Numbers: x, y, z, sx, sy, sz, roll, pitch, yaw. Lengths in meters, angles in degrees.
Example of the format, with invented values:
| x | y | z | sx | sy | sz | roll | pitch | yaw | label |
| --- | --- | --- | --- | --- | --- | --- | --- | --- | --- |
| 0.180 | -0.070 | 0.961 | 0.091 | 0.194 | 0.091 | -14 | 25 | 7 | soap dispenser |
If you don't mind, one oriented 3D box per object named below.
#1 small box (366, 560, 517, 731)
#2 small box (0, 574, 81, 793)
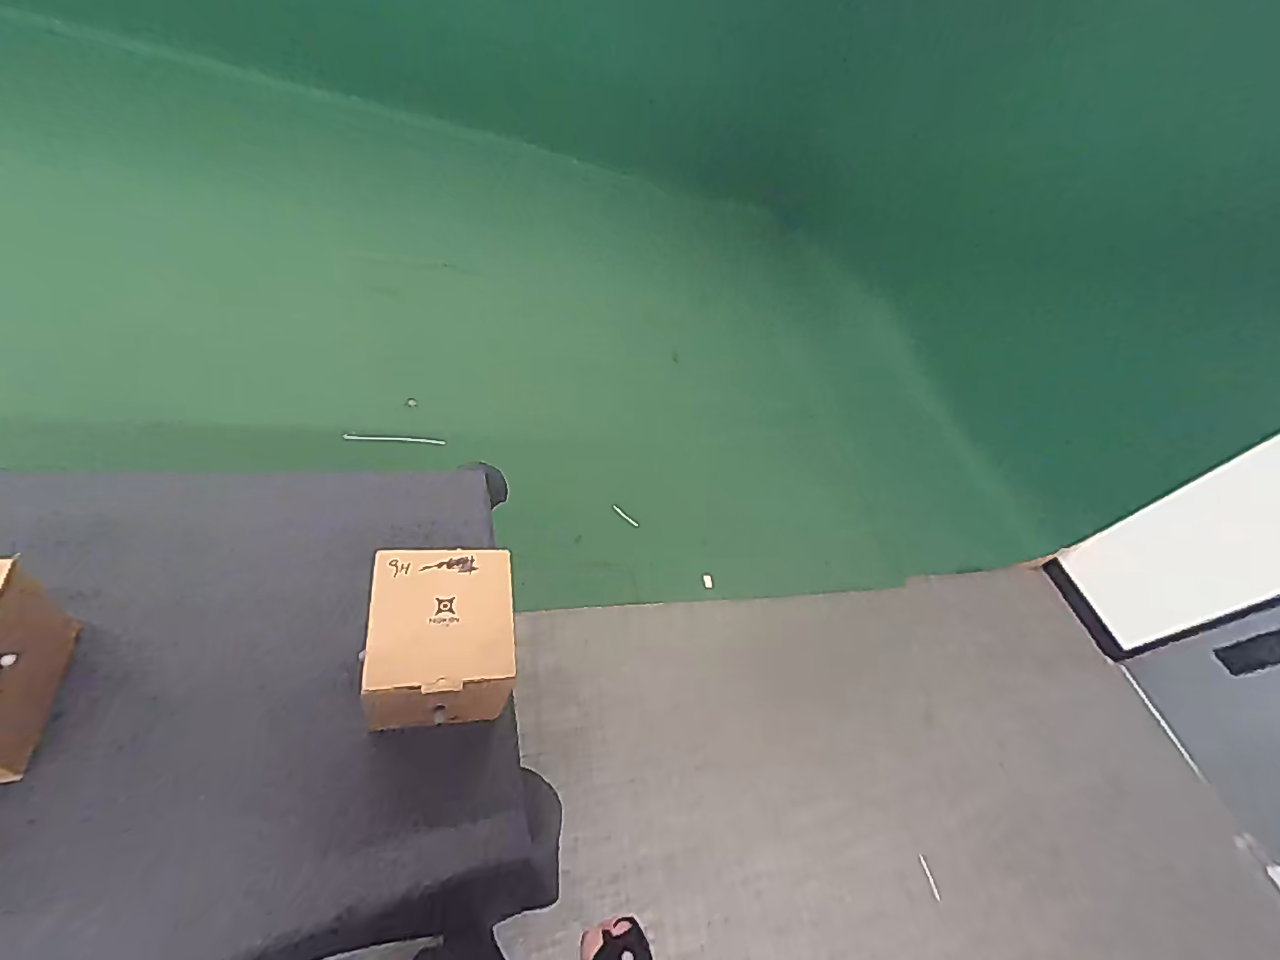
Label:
| x | y | z | sx | sy | sz | roll | pitch | yaw | label |
| --- | --- | --- | --- | --- | --- | --- | --- | --- | --- |
| -0.259 | 0.222 | 0.718 | 0.168 | 0.176 | 0.179 | 3 | 53 | -21 | small box |
| -0.711 | 0.212 | 0.532 | 0.168 | 0.176 | 0.179 | 2 | 52 | -24 | small box |
